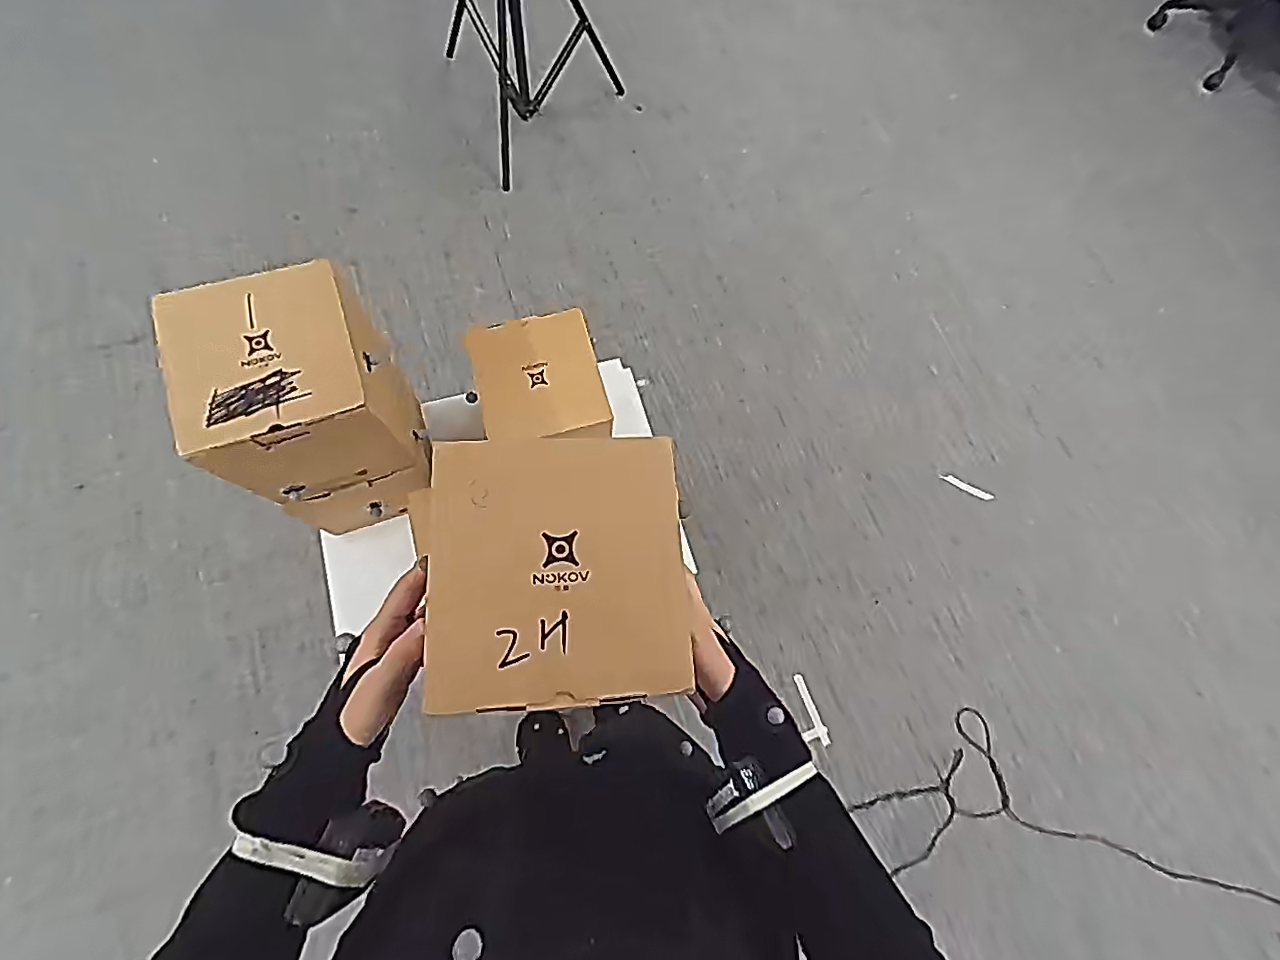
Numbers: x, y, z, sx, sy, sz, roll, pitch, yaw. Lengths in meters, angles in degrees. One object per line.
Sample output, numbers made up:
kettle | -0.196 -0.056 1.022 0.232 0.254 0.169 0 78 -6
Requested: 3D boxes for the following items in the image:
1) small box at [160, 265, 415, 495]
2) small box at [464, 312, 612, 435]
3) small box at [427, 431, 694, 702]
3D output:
small box | -0.367 -0.094 0.594 0.168 0.176 0.179 -18 76 -11
small box | -0.142 -0.112 0.796 0.168 0.176 0.179 -16 75 -9
small box | -0.060 0.074 0.431 0.168 0.176 0.179 -2 72 -7
